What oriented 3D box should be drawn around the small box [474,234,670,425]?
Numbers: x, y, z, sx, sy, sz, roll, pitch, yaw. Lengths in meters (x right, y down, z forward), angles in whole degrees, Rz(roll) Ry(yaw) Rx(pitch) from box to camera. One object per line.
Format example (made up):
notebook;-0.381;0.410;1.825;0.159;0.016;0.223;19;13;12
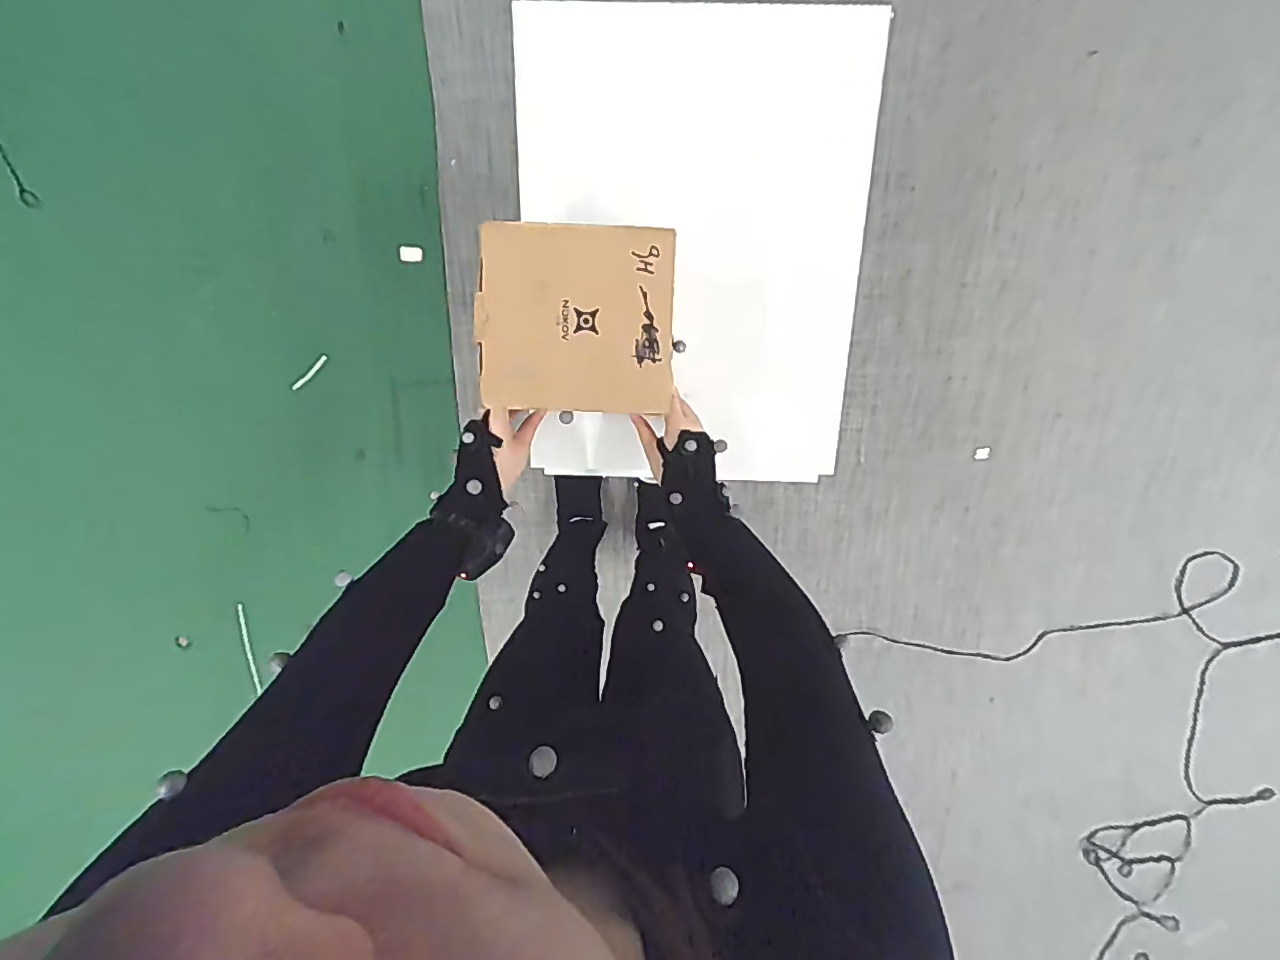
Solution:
small box;-0.064;-0.145;0.571;0.179;0.176;0.168;2;97;-1
